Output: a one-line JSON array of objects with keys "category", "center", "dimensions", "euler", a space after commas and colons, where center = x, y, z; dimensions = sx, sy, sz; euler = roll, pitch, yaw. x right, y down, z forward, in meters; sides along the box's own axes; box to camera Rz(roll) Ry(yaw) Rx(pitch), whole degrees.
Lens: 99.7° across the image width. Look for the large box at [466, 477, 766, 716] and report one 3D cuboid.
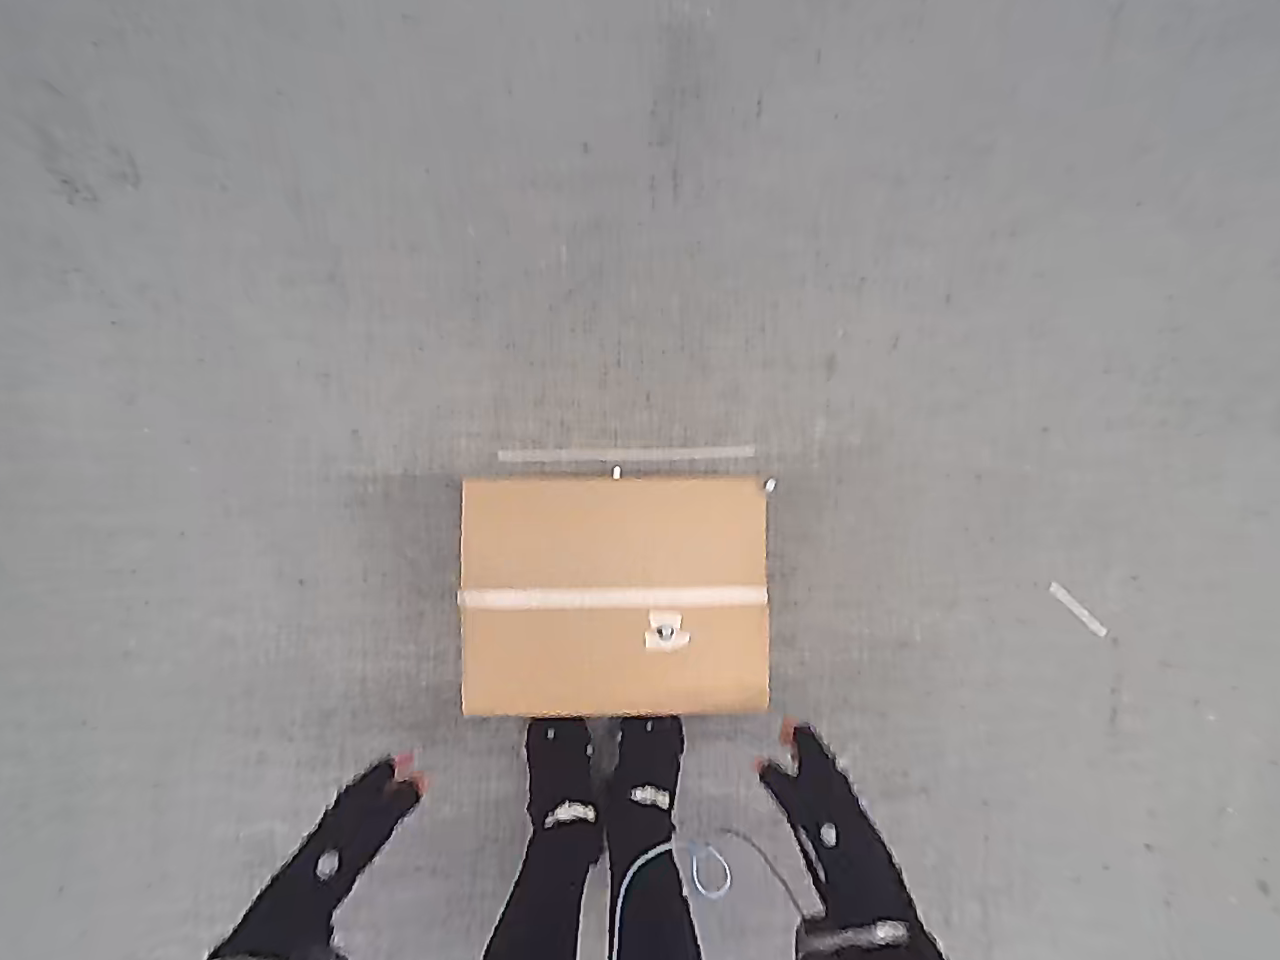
[{"category": "large box", "center": [-0.038, 0.162, 0.874], "dimensions": [0.408, 0.320, 0.320], "euler": [-1, 88, -2]}]
